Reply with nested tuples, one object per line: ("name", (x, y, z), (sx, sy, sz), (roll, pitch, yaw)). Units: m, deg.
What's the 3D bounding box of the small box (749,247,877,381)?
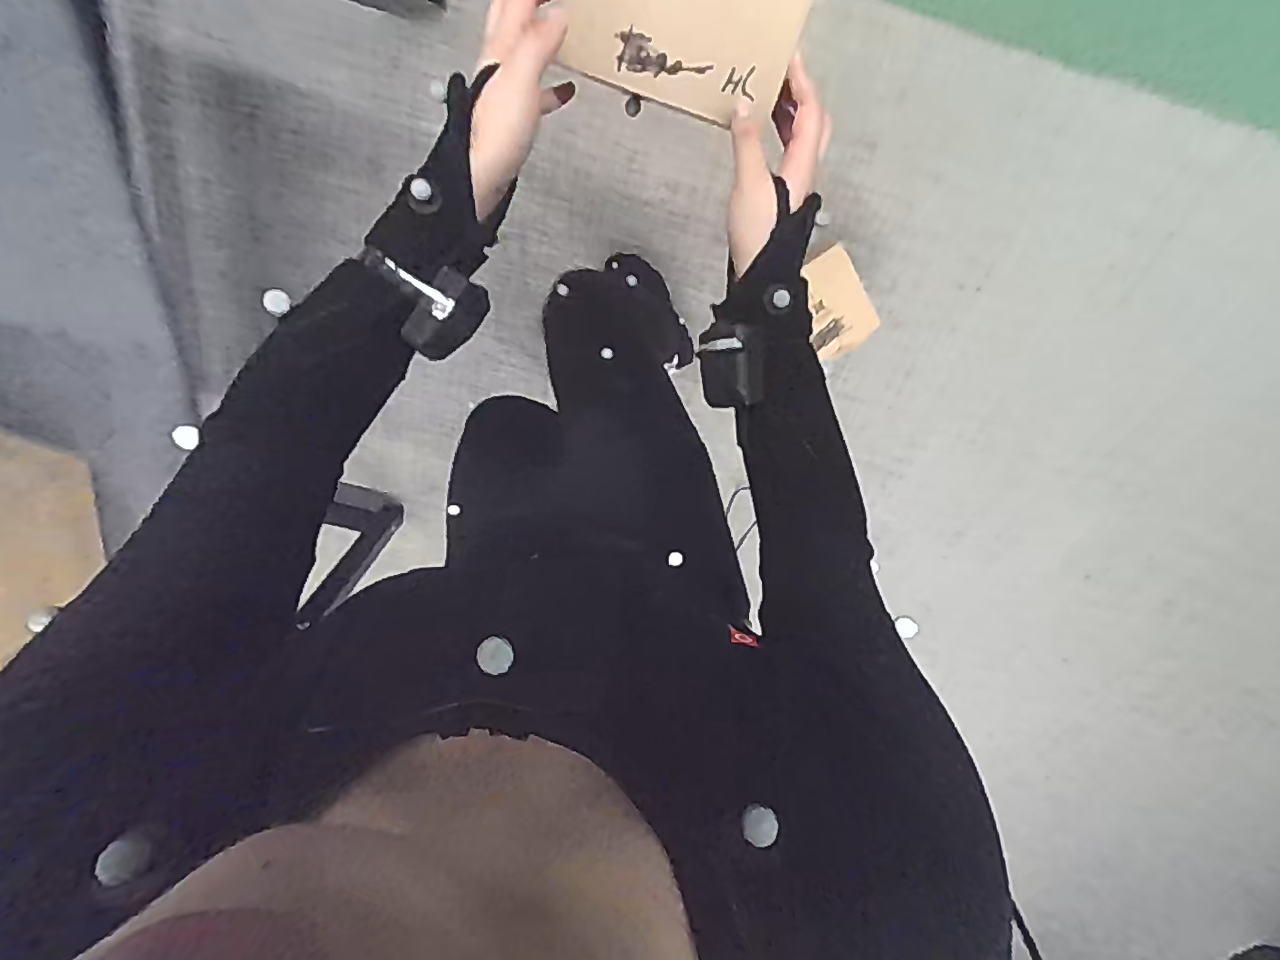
("small box", (0.333, -0.331, 1.063), (0.168, 0.176, 0.179), (-30, 113, 18))
